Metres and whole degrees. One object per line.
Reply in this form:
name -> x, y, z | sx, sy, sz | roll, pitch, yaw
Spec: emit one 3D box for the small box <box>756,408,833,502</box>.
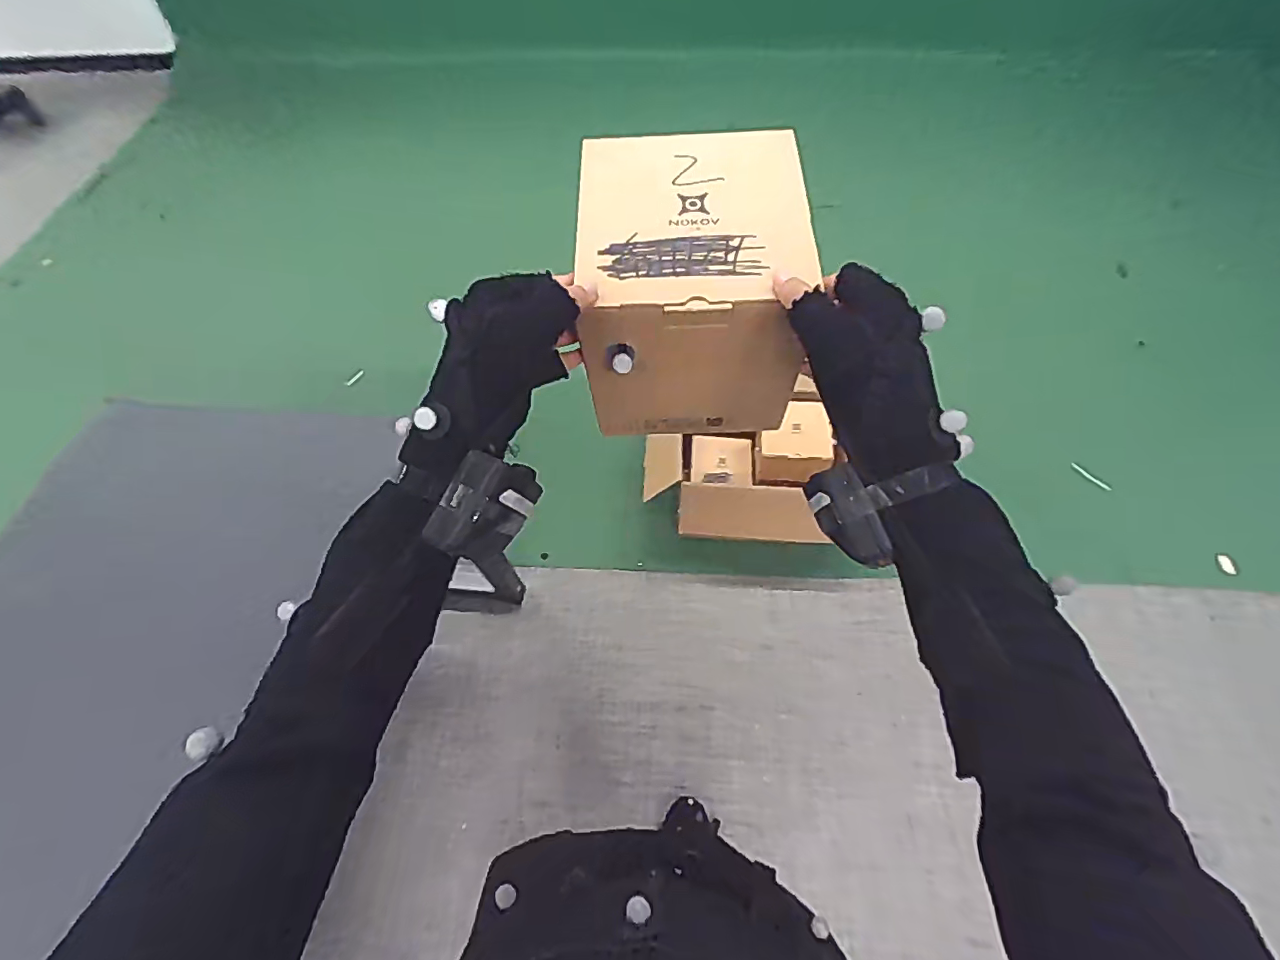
small box -> 0.390, -0.064, 1.391 | 0.168, 0.176, 0.179 | 3, 56, 8
